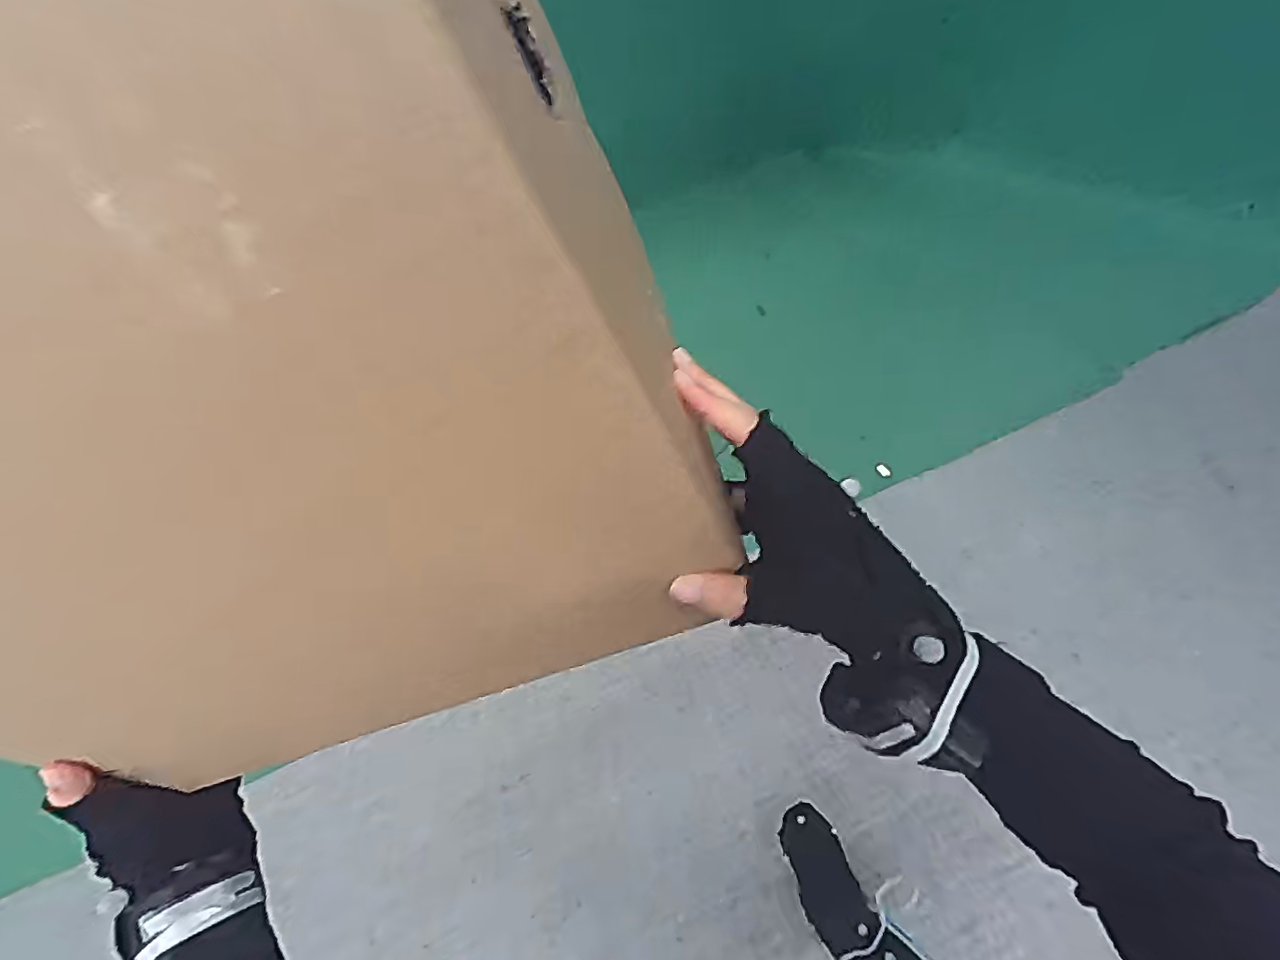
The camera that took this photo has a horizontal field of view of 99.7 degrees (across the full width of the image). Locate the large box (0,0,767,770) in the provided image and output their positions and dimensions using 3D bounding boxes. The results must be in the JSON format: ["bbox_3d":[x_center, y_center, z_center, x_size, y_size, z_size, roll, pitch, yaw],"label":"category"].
[{"bbox_3d":[-0.186,-0.073,0.322,0.408,0.320,0.320,-21,47,10],"label":"large box"}]
